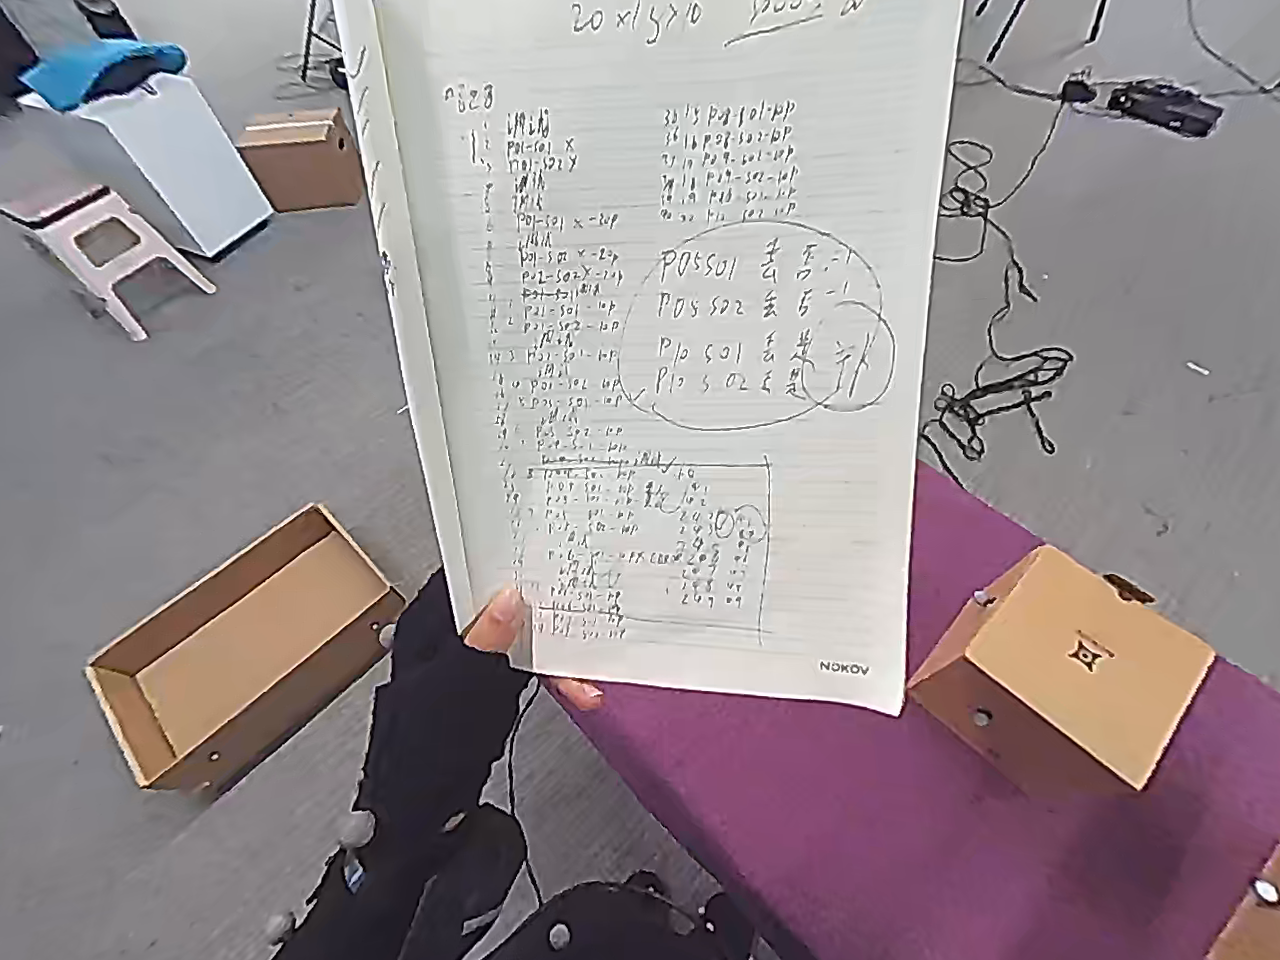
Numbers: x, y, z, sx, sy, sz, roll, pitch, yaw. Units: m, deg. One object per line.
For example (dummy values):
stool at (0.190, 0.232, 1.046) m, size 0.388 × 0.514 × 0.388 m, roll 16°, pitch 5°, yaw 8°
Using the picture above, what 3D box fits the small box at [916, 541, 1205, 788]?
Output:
small box at (0.438, 0.208, 0.597) m, size 0.179 × 0.176 × 0.168 m, roll -39°, pitch 63°, yaw -21°
